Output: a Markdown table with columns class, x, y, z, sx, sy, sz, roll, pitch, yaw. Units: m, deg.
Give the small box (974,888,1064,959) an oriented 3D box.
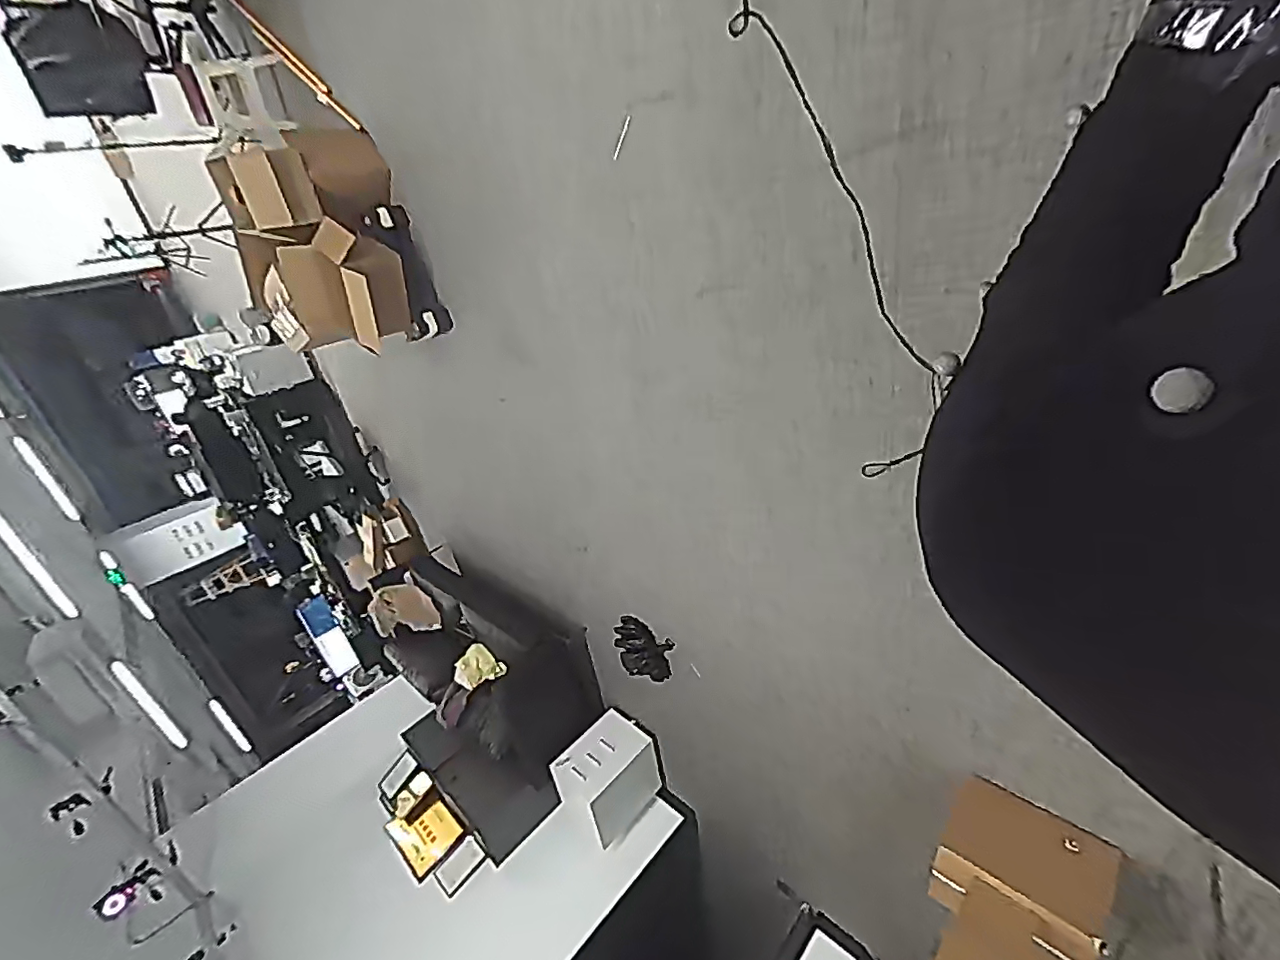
| class | x | y | z | sx | sy | sz | roll | pitch | yaw |
| --- | --- | --- | --- | --- | --- | --- | --- | --- | --- |
| small box | 1.069 | 1.322 | 1.532 | 0.179 | 0.176 | 0.168 | 17 | 126 | 45 |
